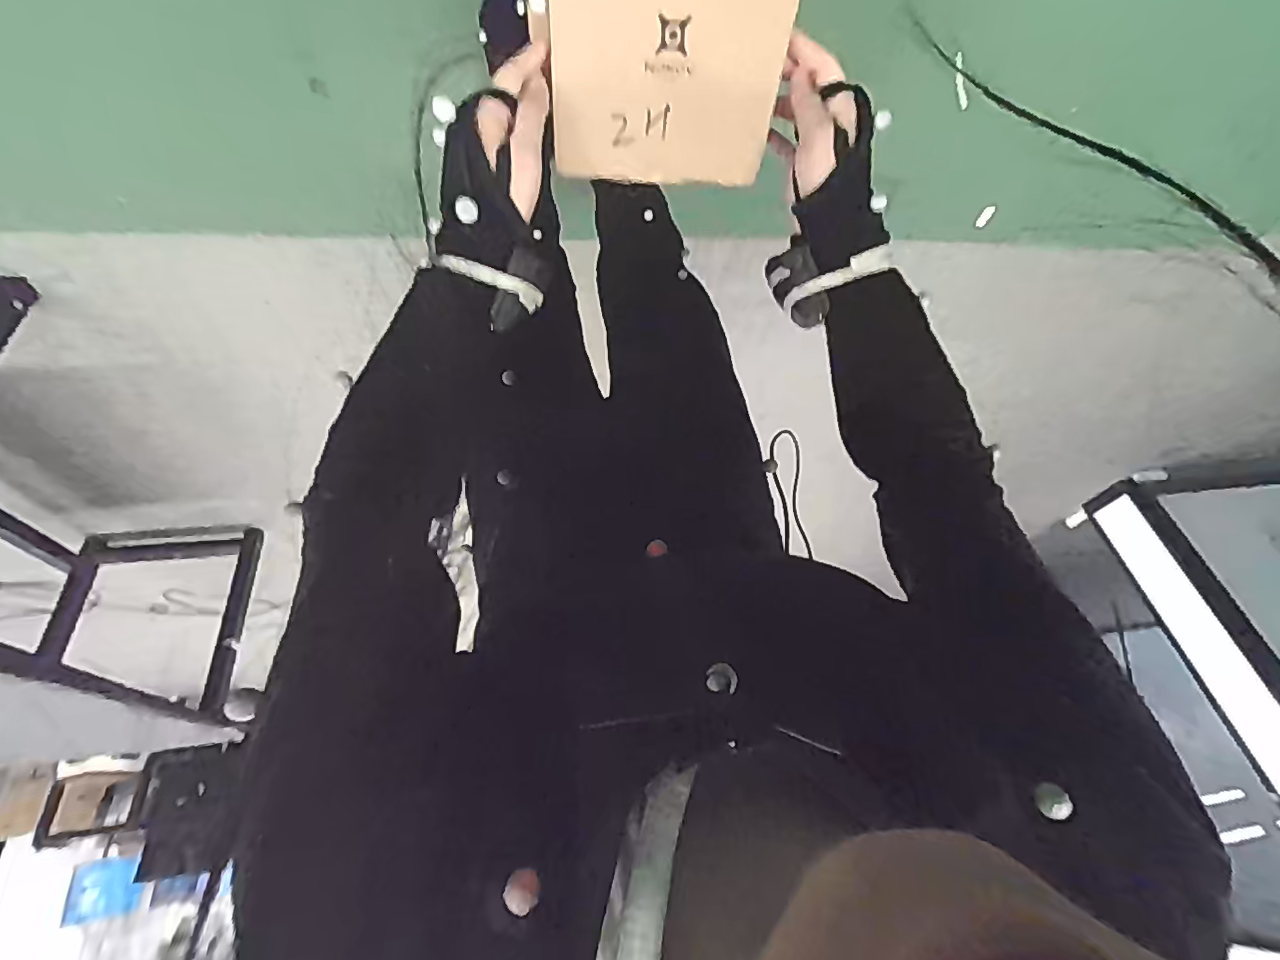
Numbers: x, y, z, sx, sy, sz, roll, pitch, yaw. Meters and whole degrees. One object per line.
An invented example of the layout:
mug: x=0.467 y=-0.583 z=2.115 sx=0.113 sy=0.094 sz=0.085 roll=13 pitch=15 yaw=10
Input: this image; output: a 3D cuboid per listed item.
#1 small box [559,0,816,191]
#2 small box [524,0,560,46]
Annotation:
small box: x=0.024 y=-0.349 z=0.408 sx=0.168 sy=0.176 sz=0.179 roll=1 pitch=142 yaw=-5
small box: x=-0.056 y=-0.637 z=0.628 sx=0.168 sy=0.176 sz=0.179 roll=-4 pitch=147 yaw=-11
